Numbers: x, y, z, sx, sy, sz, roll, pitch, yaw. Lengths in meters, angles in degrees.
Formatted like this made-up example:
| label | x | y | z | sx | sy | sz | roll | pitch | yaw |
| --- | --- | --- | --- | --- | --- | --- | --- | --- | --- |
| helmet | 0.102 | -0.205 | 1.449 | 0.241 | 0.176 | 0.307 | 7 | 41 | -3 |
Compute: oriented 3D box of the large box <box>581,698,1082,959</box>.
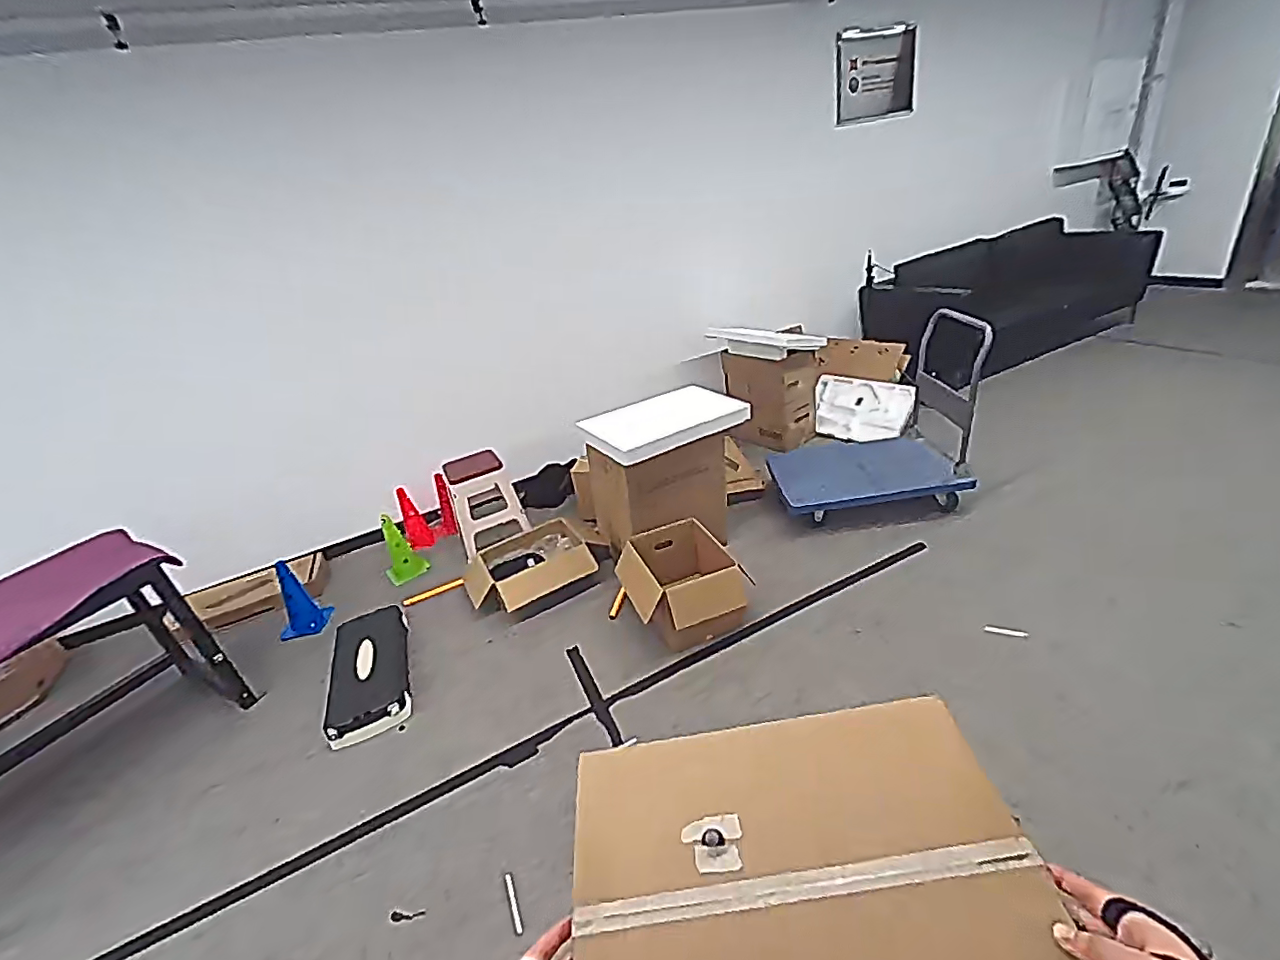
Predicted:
| label | x | y | z | sx | sy | sz | roll | pitch | yaw |
| --- | --- | --- | --- | --- | --- | --- | --- | --- | --- |
| large box | 0.170 | 0.487 | 0.569 | 0.408 | 0.320 | 0.320 | -12 | 32 | 3 |
